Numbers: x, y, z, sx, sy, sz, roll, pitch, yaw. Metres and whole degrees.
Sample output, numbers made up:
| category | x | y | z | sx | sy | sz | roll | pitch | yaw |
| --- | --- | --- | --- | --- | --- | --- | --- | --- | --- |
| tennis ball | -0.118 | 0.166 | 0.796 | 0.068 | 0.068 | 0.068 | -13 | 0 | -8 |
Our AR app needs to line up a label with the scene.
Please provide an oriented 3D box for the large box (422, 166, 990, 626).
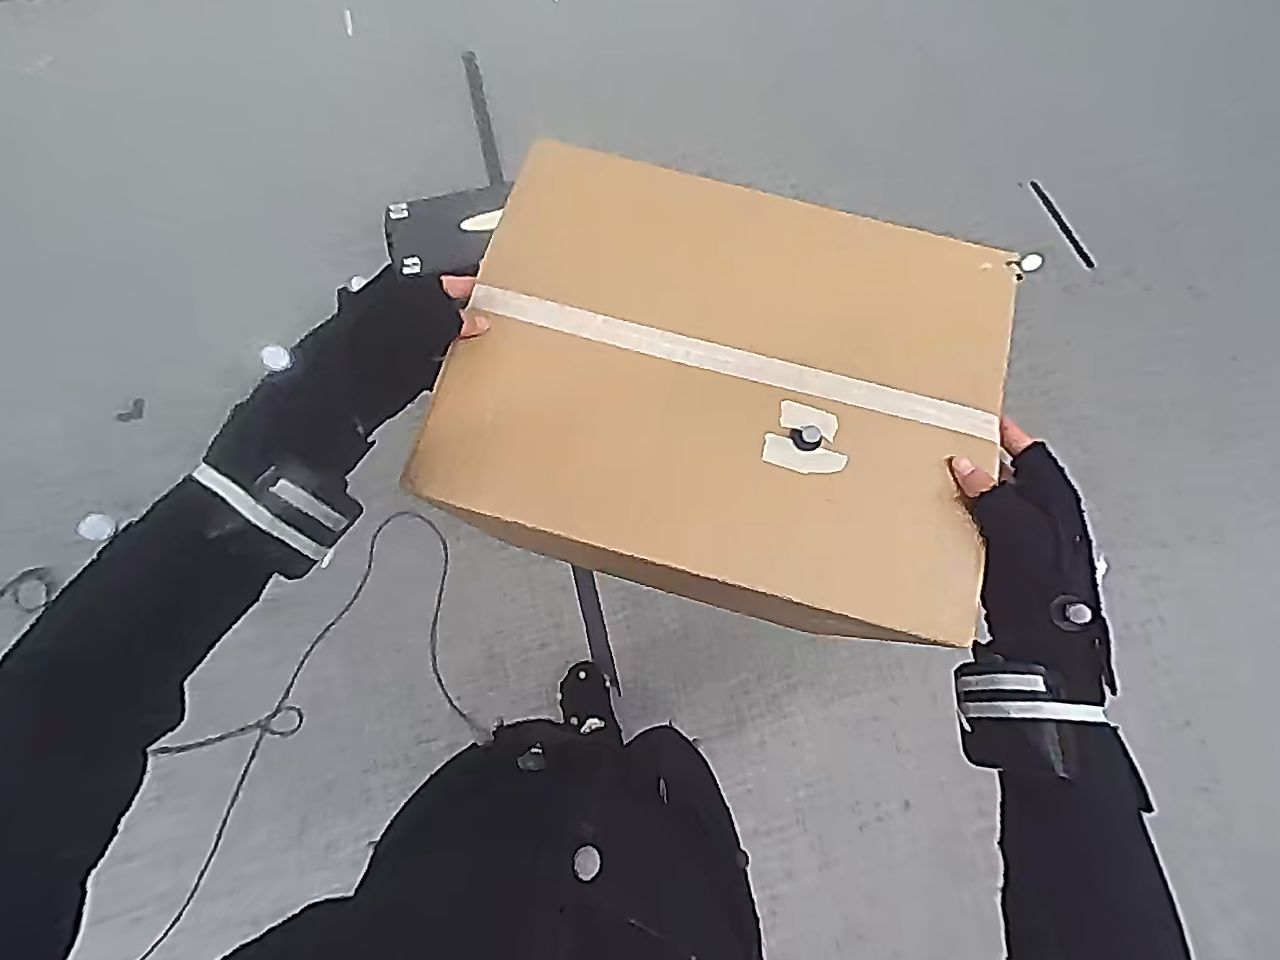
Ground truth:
| category | x | y | z | sx | sy | sz | roll | pitch | yaw |
| --- | --- | --- | --- | --- | --- | --- | --- | --- | --- |
| large box | 0.061 | -0.049 | 0.569 | 0.408 | 0.320 | 0.320 | 15 | 77 | 3 |

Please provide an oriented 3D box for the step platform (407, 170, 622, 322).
| category | x | y | z | sx | sy | sz | roll | pitch | yaw |
| --- | --- | --- | --- | --- | --- | --- | --- | --- | --- |
| step platform | -0.343 | -0.720 | 1.650 | 0.684 | 0.204 | 0.286 | -15 | 71 | -8 |
